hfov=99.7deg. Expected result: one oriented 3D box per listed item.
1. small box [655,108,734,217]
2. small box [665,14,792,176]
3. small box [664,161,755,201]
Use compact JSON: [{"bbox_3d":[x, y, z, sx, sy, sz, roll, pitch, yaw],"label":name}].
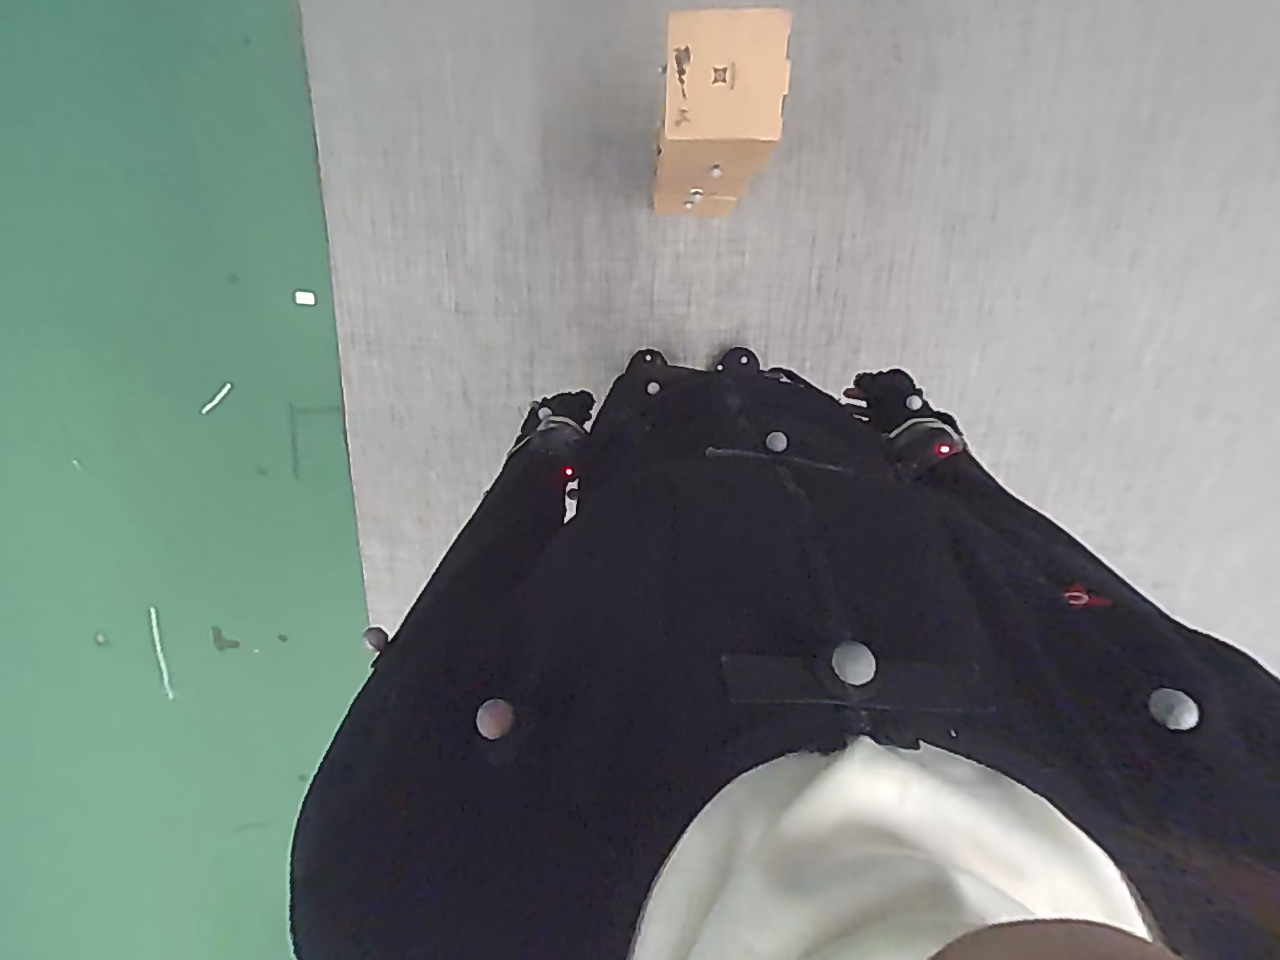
[{"bbox_3d":[0.127,-0.686,1.187,0.179,0.176,0.168,4,105,1],"label":"small box"},{"bbox_3d":[0.132,-0.606,0.871,0.179,0.176,0.168,3,104,3],"label":"small box"},{"bbox_3d":[0.133,-0.651,1.029,0.168,0.176,0.179,3,105,4],"label":"small box"}]
